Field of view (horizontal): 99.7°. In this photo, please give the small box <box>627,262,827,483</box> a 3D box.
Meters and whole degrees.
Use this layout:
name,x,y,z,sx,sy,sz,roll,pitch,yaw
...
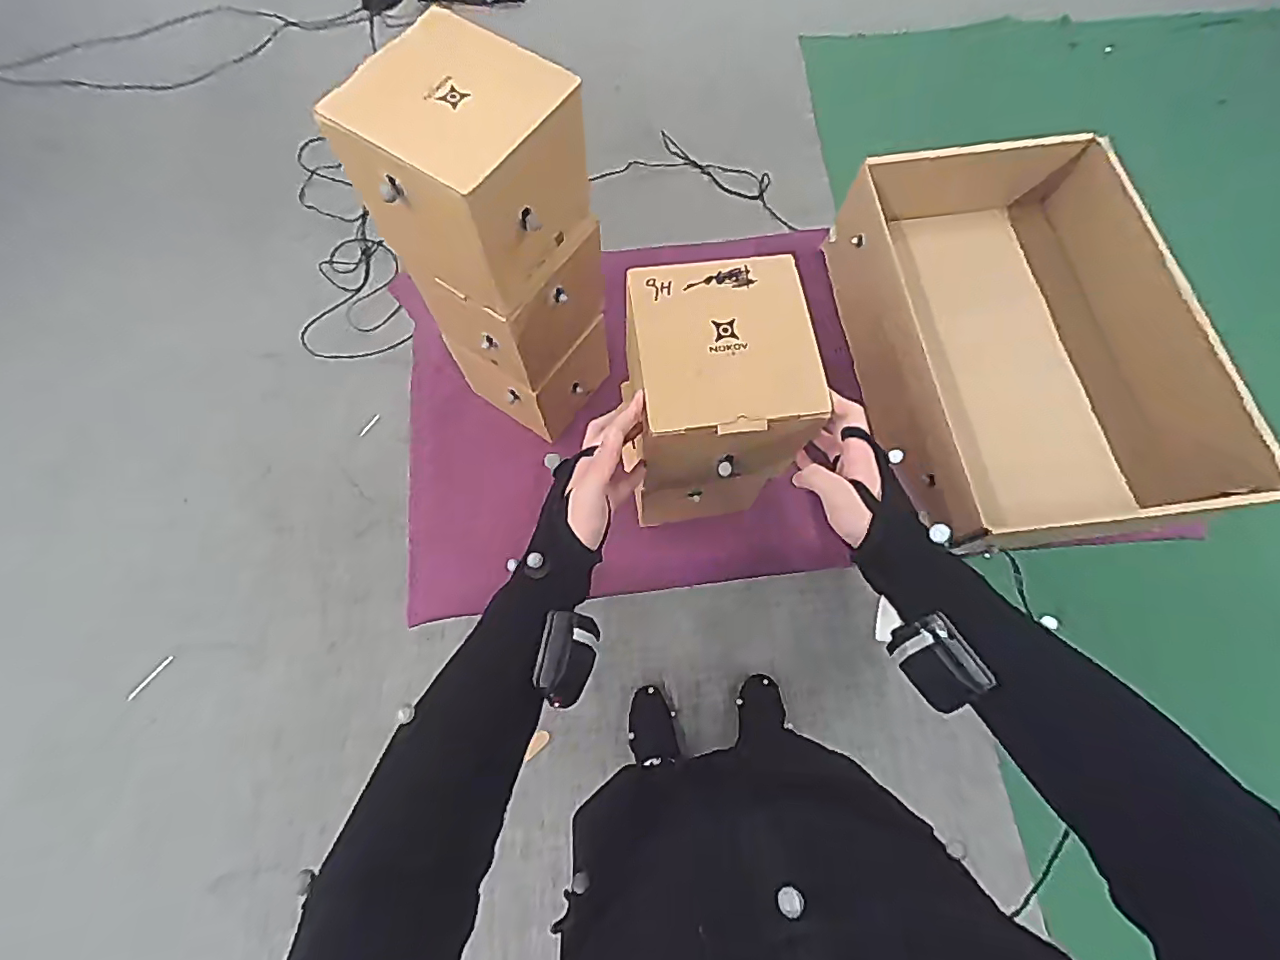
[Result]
name,x,y,z,sx,sy,sz,roll,pitch,yaw
small box,0.076,-0.101,0.577,0.168,0.176,0.179,-6,73,-4

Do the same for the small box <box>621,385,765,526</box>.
name,x,y,z,sx,sy,sz,roll,pitch,yaw
small box,0.072,-0.039,0.798,0.179,0.176,0.168,-9,69,-3

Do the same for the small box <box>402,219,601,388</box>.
name,x,y,z,sx,sy,sz,roll,pitch,yaw
small box,-0.161,-0.252,0.703,0.168,0.176,0.179,34,74,10

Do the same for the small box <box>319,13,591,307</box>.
name,x,y,z,sx,sy,sz,roll,pitch,yaw
small box,-0.165,-0.307,0.551,0.179,0.176,0.168,32,74,10

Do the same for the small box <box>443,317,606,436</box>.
name,x,y,z,sx,sy,sz,roll,pitch,yaw
small box,-0.167,-0.192,0.854,0.179,0.176,0.168,34,73,11
